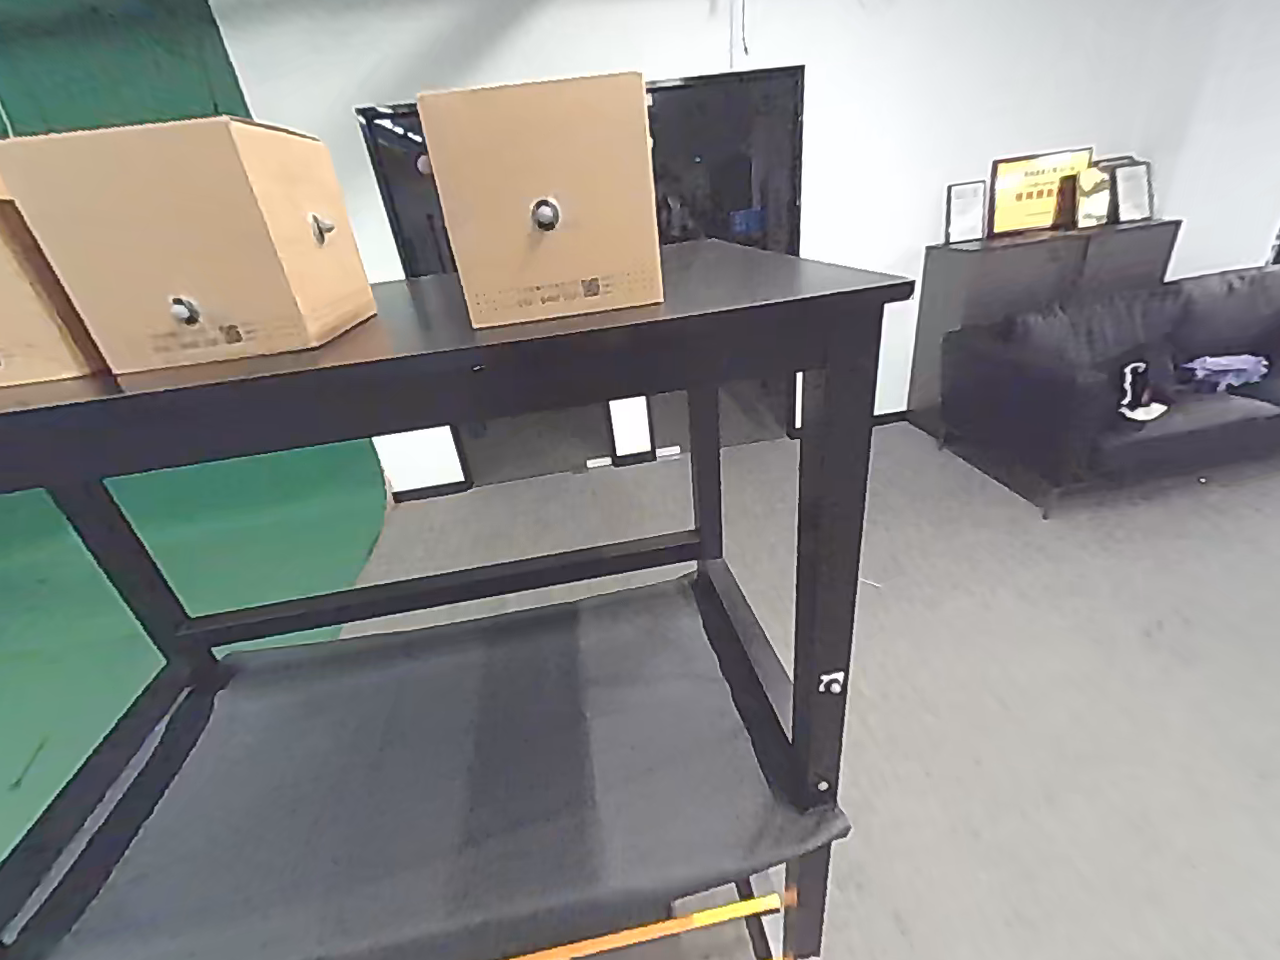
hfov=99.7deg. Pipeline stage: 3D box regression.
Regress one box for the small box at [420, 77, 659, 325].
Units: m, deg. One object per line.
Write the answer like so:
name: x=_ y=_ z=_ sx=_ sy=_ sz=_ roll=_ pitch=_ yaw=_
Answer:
small box: x=-0.080 y=-0.246 z=0.501 sx=0.168 sy=0.176 sz=0.179 roll=-9 pitch=27 yaw=-4
